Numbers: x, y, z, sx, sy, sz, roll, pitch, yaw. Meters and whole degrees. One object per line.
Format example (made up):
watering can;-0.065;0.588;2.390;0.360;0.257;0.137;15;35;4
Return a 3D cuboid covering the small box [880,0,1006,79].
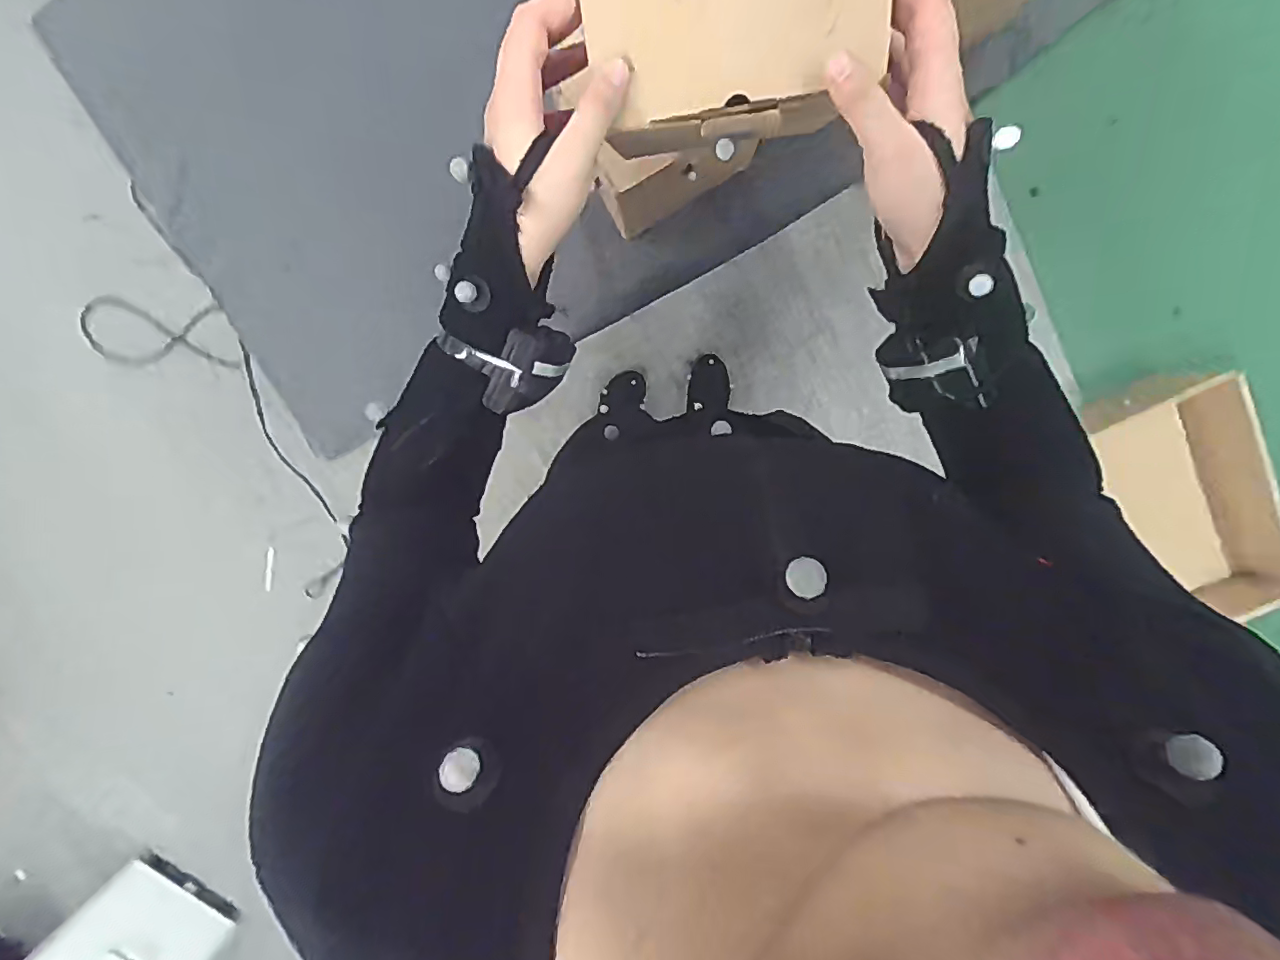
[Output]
small box;0.285;-0.541;0.531;0.179;0.176;0.168;-24;99;7

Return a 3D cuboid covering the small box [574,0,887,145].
small box;0.048;-0.320;0.337;0.168;0.176;0.179;-4;118;6

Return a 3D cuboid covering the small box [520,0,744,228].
small box;0.005;-0.399;0.572;0.179;0.176;0.168;-30;100;6
